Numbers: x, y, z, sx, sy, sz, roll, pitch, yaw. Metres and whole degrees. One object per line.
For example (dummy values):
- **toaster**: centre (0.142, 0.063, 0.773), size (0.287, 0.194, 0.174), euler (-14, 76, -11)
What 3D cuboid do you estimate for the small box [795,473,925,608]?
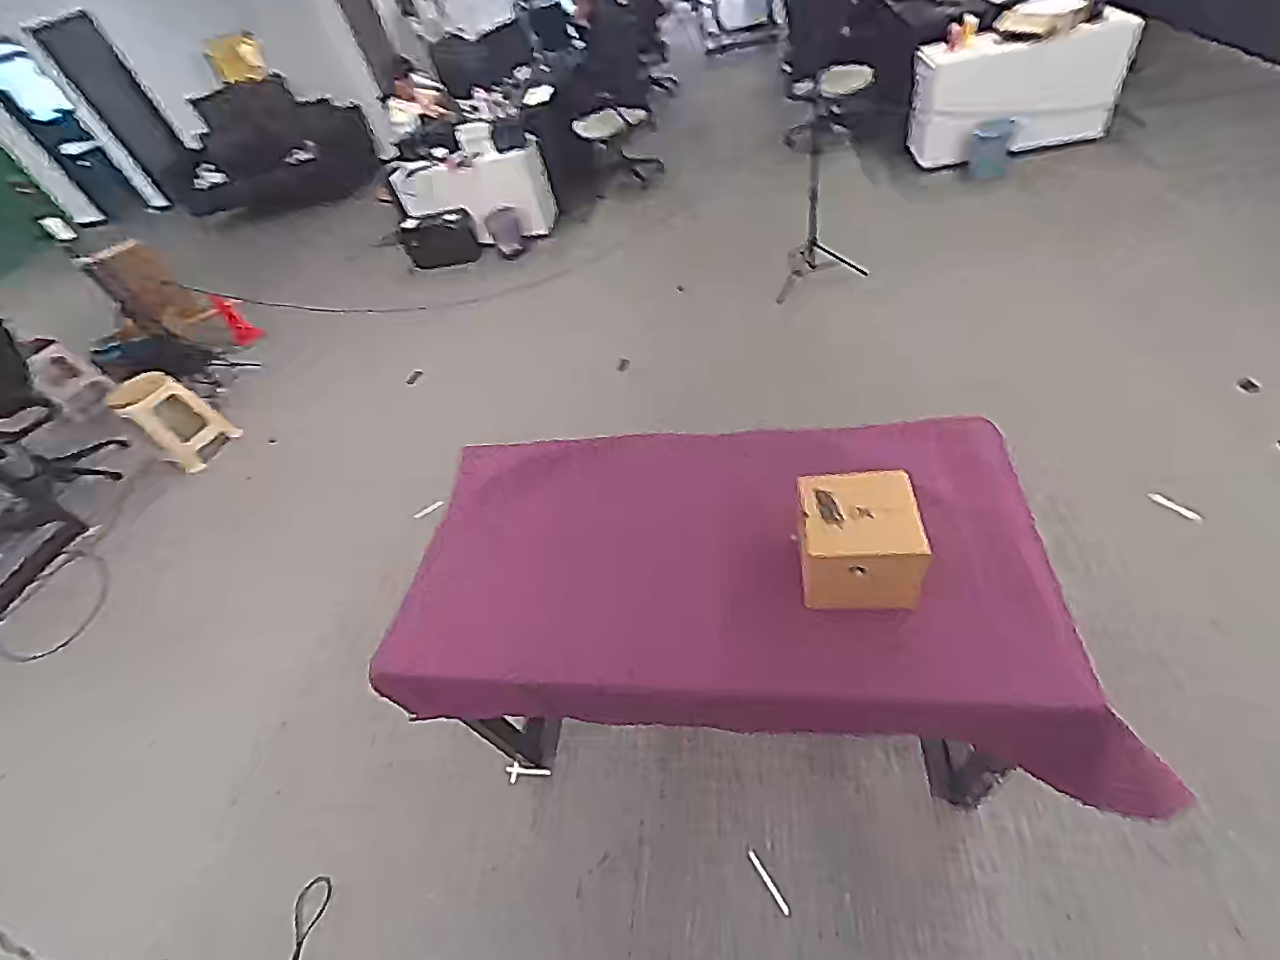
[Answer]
- **small box**: centre (0.363, 0.107, 0.922), size (0.179, 0.176, 0.168), euler (-3, 48, 13)
